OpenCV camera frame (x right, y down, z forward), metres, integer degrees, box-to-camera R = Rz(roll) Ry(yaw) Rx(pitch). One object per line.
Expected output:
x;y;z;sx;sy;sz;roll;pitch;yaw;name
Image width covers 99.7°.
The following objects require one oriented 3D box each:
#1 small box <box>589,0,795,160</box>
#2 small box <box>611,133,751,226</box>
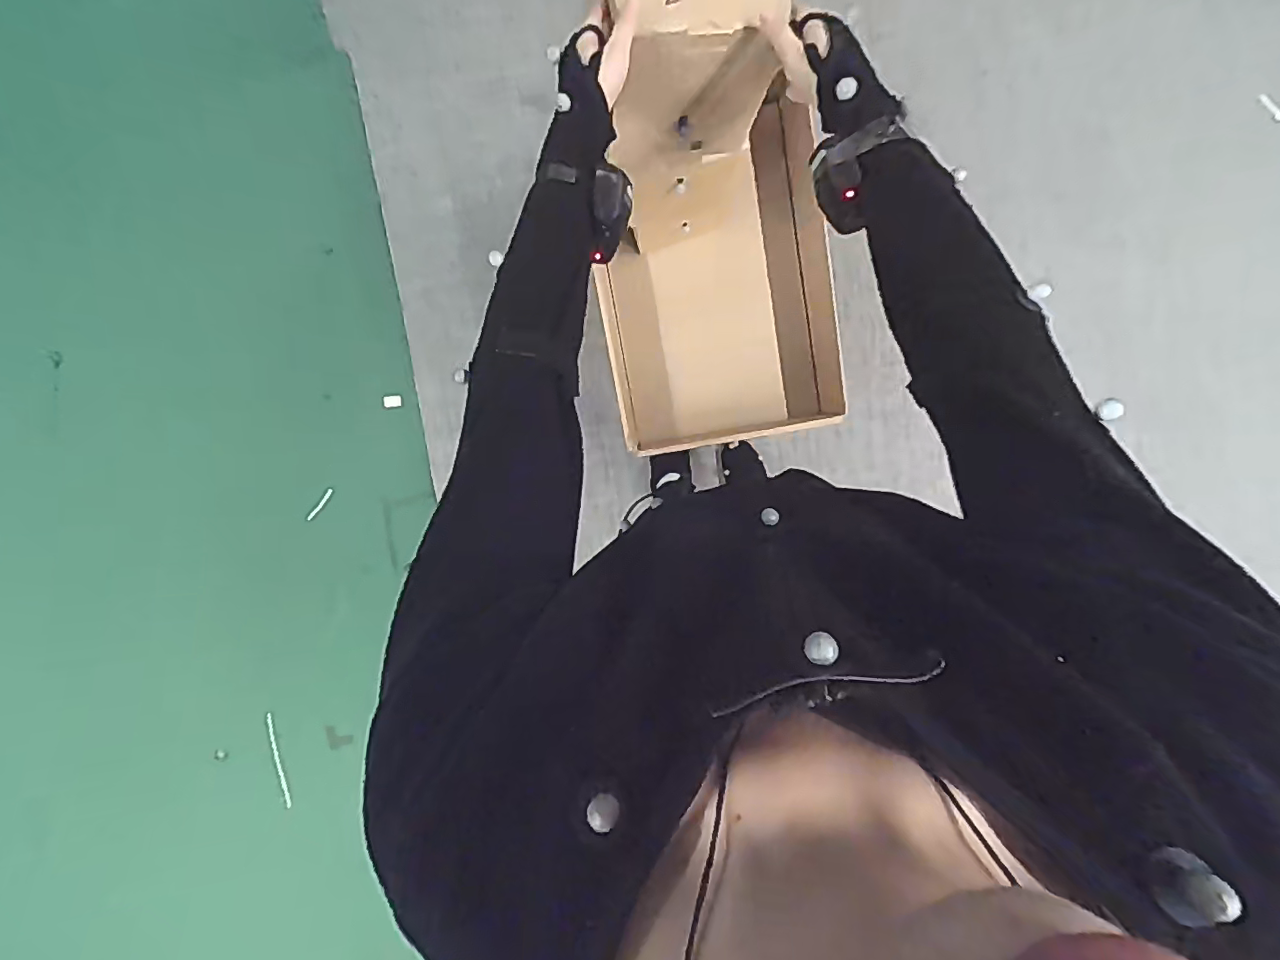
0.039;-0.477;0.569;0.168;0.176;0.179;-9;85;-8;small box
0.047;-0.501;0.791;0.179;0.176;0.168;-14;96;5;small box
